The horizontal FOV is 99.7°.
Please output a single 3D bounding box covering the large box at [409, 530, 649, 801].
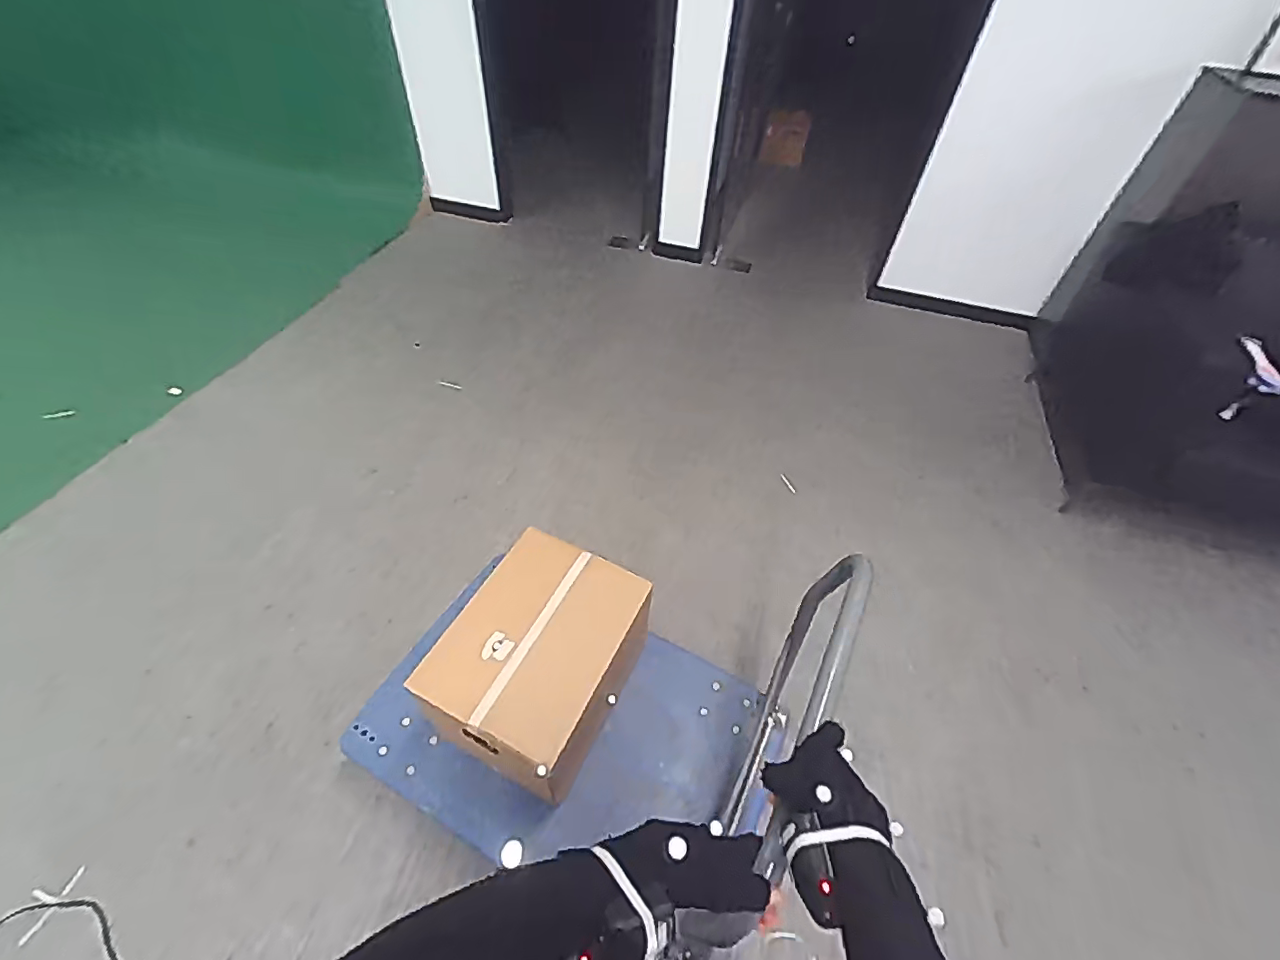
[{"bbox_3d":[-0.207,0.392,1.169,0.320,0.320,0.408,22,52,15],"label":"large box"}]
